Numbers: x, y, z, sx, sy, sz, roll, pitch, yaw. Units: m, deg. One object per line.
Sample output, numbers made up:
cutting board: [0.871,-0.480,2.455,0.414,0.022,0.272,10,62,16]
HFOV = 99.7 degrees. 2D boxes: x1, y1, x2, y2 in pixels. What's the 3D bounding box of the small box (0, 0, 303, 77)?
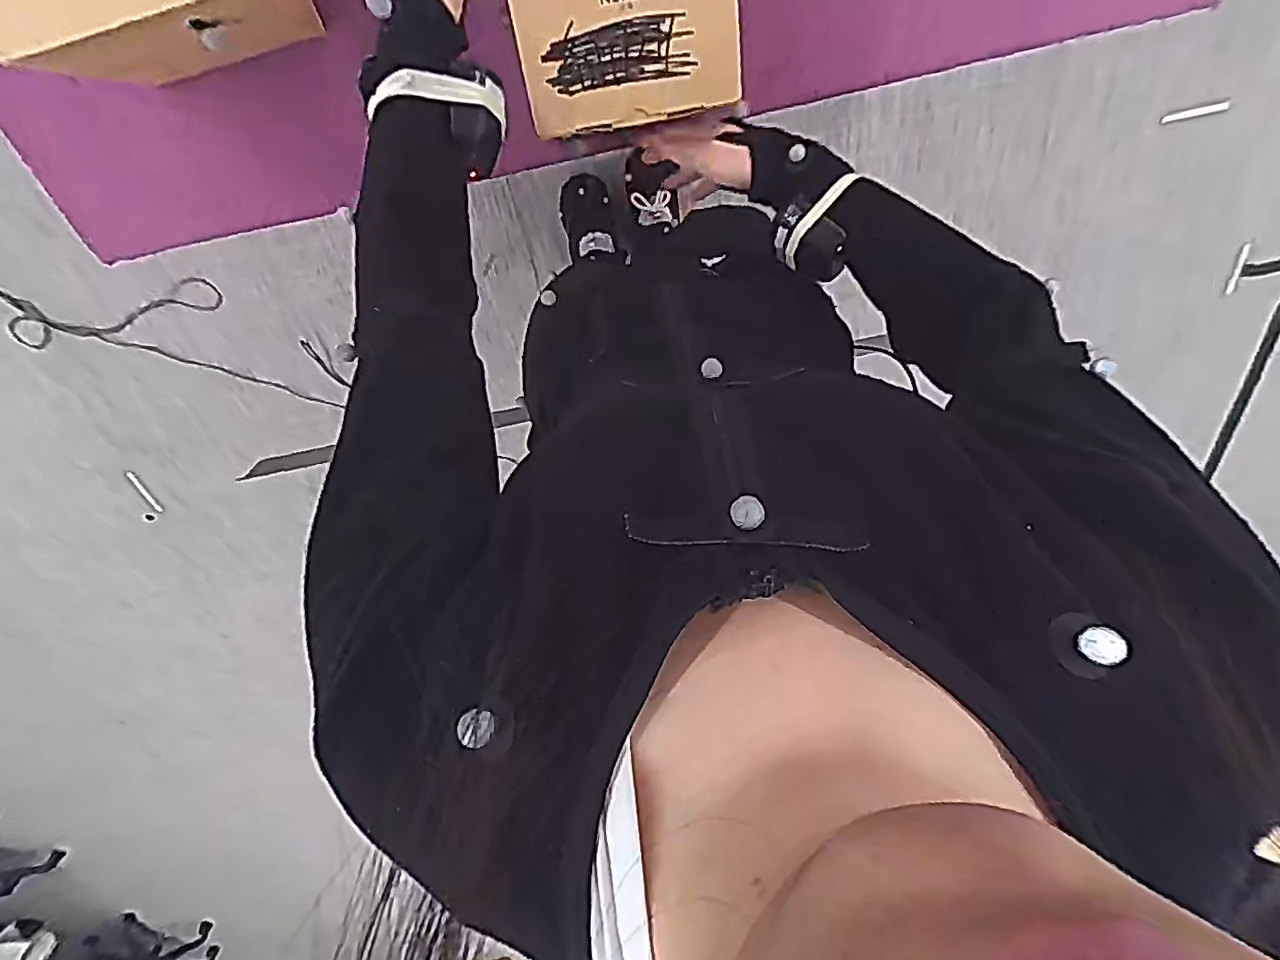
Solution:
small box: [-0.384,-0.418,0.391,0.179,0.176,0.168,-14,122,3]
